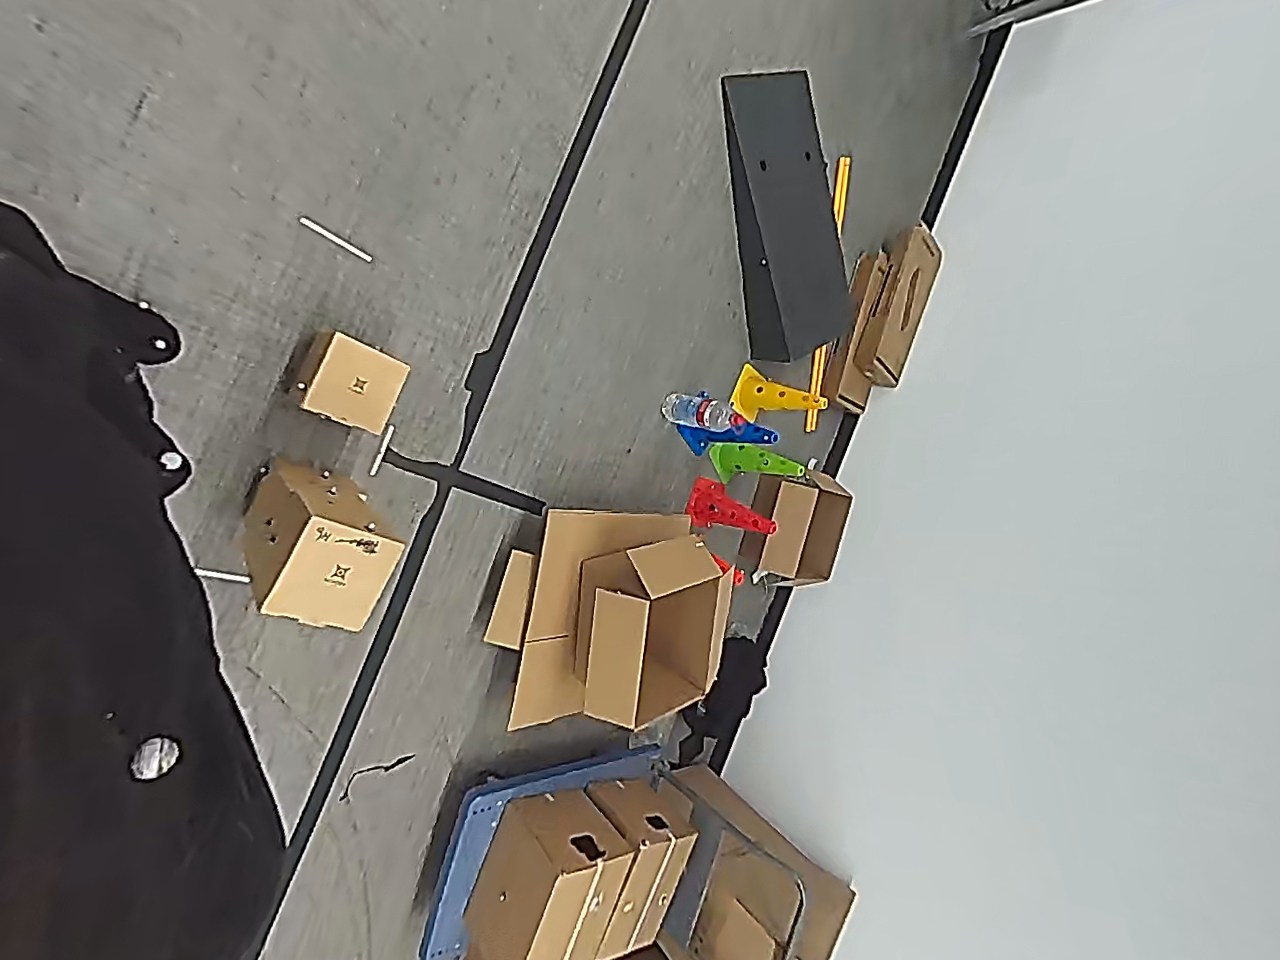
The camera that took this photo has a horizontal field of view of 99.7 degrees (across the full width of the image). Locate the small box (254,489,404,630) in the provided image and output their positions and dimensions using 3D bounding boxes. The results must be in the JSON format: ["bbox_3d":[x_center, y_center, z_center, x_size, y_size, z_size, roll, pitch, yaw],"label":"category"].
[{"bbox_3d":[-0.564,0.140,0.974,0.168,0.176,0.179,32,84,-43],"label":"small box"}]

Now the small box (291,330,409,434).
[{"bbox_3d":[-0.660,-0.226,1.222,0.168,0.176,0.179,25,87,-44],"label":"small box"}]

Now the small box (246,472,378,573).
[{"bbox_3d":[-0.668,0.101,1.095,0.168,0.176,0.179,27,86,-43],"label":"small box"}]

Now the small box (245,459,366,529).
[{"bbox_3d":[-0.762,0.061,1.226,0.179,0.176,0.168,24,88,-44],"label":"small box"}]
